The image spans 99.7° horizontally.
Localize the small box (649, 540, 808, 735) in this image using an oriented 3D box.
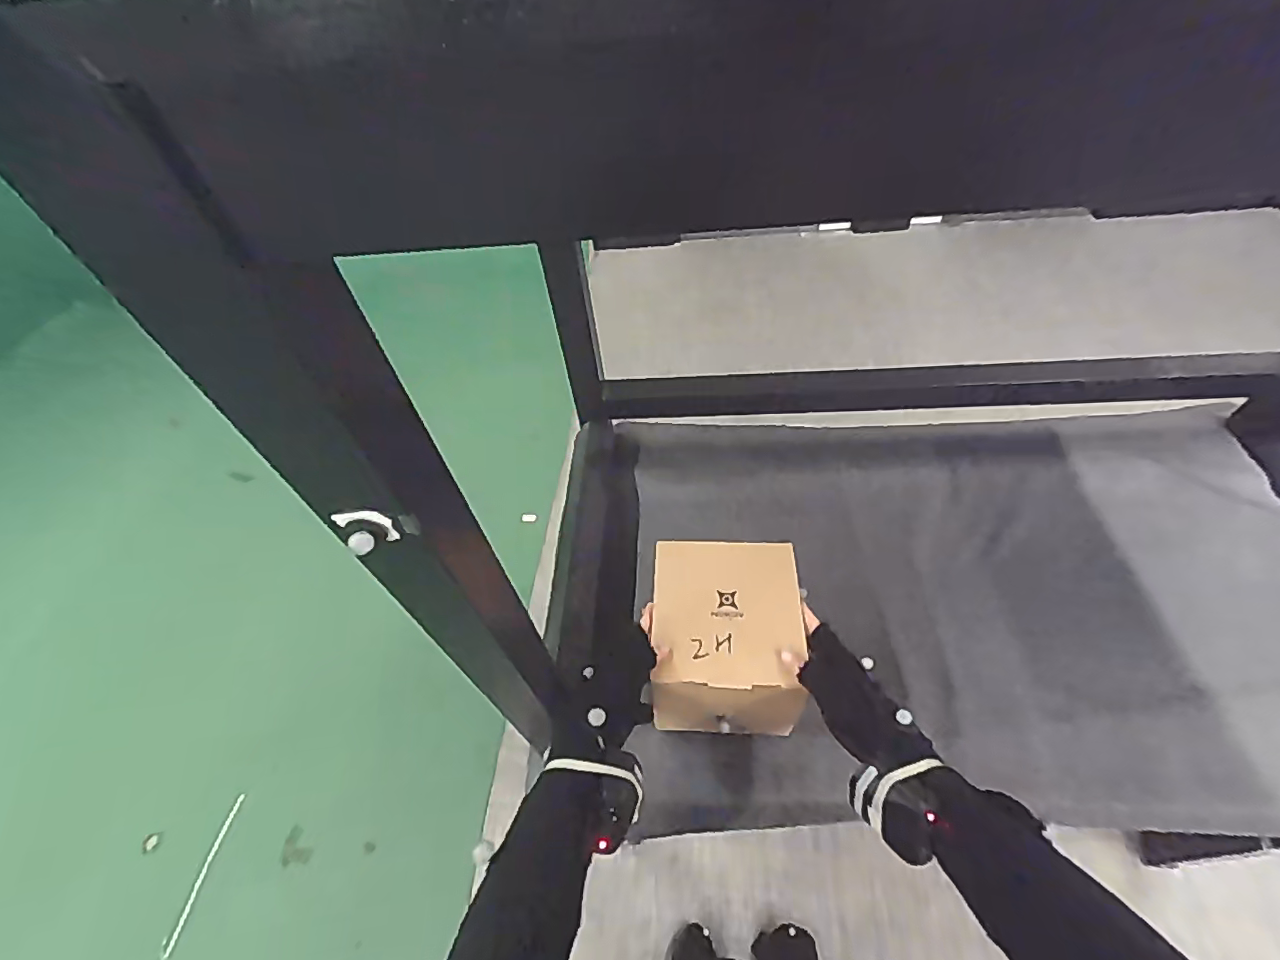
[{"bbox_3d":[0.099,0.193,0.667,0.168,0.176,0.179,1,50,5],"label":"small box"}]
